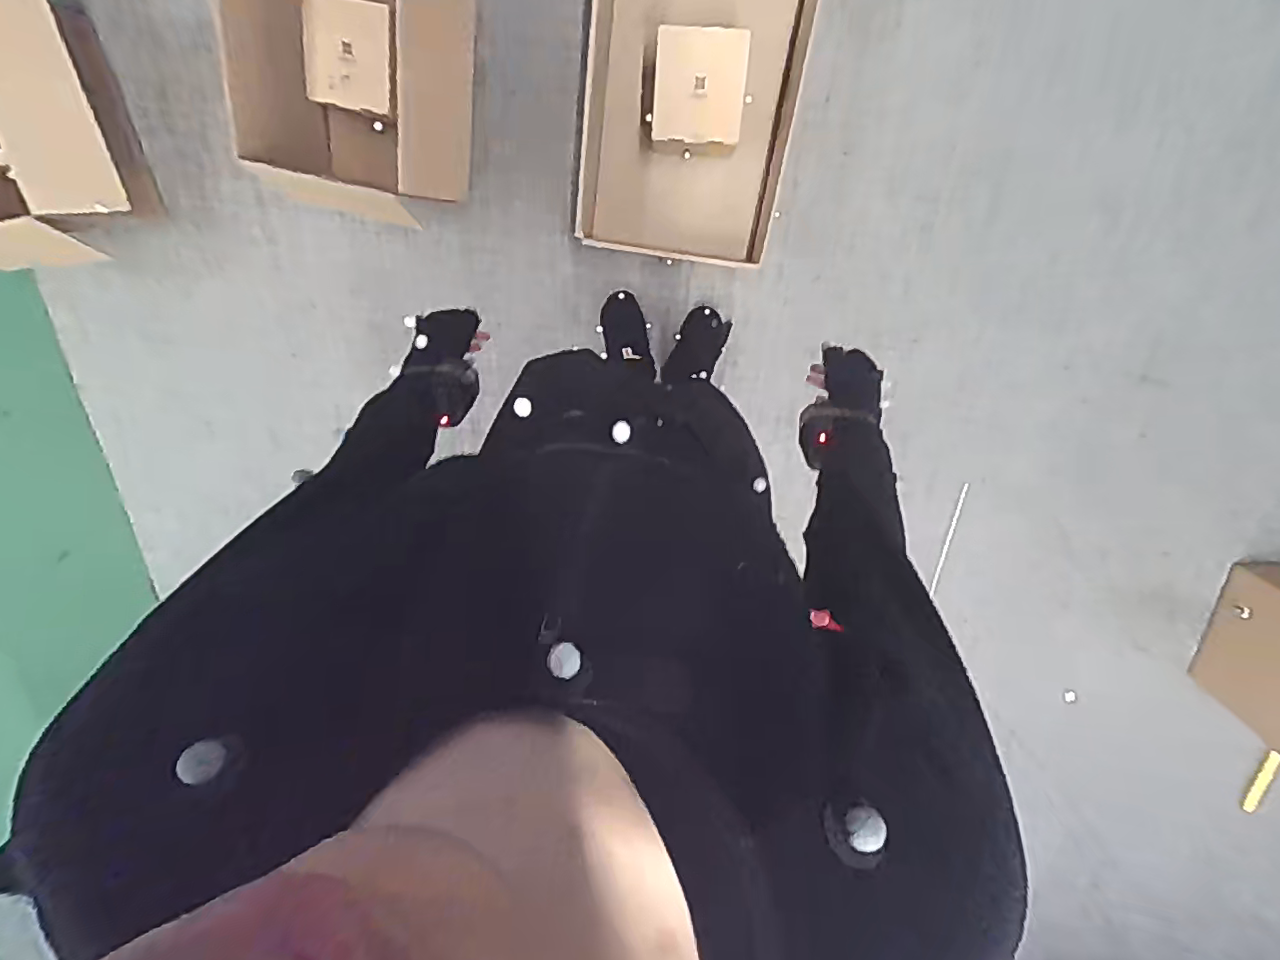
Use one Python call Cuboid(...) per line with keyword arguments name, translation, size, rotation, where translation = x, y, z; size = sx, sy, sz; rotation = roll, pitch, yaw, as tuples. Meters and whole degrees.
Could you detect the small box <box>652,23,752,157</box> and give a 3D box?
Cuboid(name="small box", translation=(0.113, -0.747, 1.051), size=(0.168, 0.176, 0.179), rotation=(4, 114, 2))
